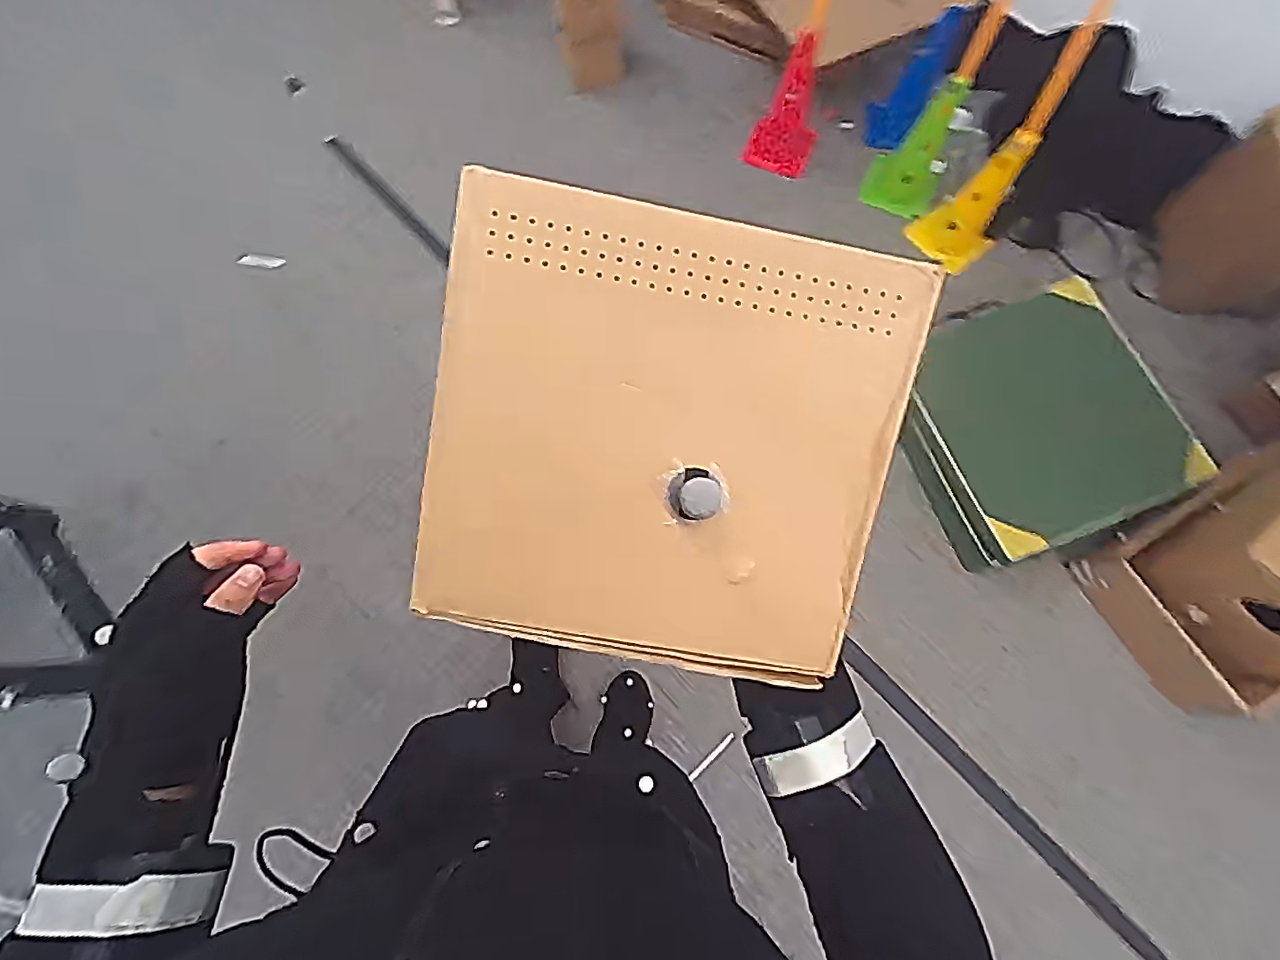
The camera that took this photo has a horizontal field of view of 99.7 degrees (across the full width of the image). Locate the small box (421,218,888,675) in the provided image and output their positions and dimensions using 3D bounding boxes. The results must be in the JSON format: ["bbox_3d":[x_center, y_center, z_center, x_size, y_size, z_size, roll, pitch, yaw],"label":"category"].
[{"bbox_3d":[0.001,-0.023,0.289,0.179,0.168,0.176,9,99,-5],"label":"small box"}]
